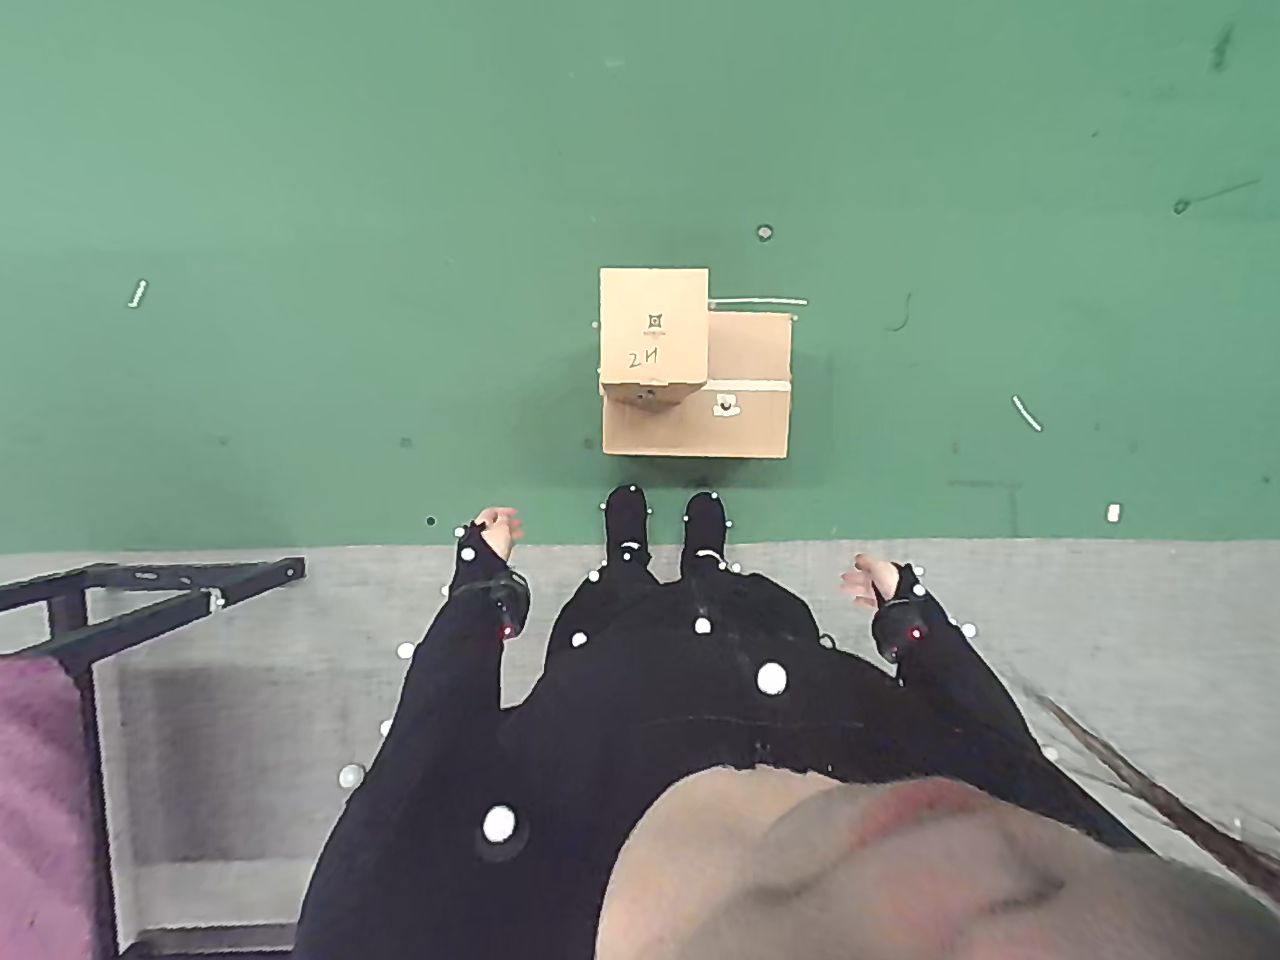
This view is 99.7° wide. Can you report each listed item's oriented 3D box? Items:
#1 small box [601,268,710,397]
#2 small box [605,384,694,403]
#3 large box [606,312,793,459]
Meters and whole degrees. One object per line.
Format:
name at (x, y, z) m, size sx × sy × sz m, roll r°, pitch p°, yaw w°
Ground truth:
small box at (0.021, -0.234, 0.890) m, size 0.168 × 0.176 × 0.179 m, roll 0°, pitch 94°, yaw 0°
small box at (0.018, -0.246, 1.055) m, size 0.168 × 0.176 × 0.179 m, roll 1°, pitch 94°, yaw -1°
large box at (0.122, -0.211, 1.300) m, size 0.408 × 0.320 × 0.320 m, roll 1°, pitch 94°, yaw -1°
